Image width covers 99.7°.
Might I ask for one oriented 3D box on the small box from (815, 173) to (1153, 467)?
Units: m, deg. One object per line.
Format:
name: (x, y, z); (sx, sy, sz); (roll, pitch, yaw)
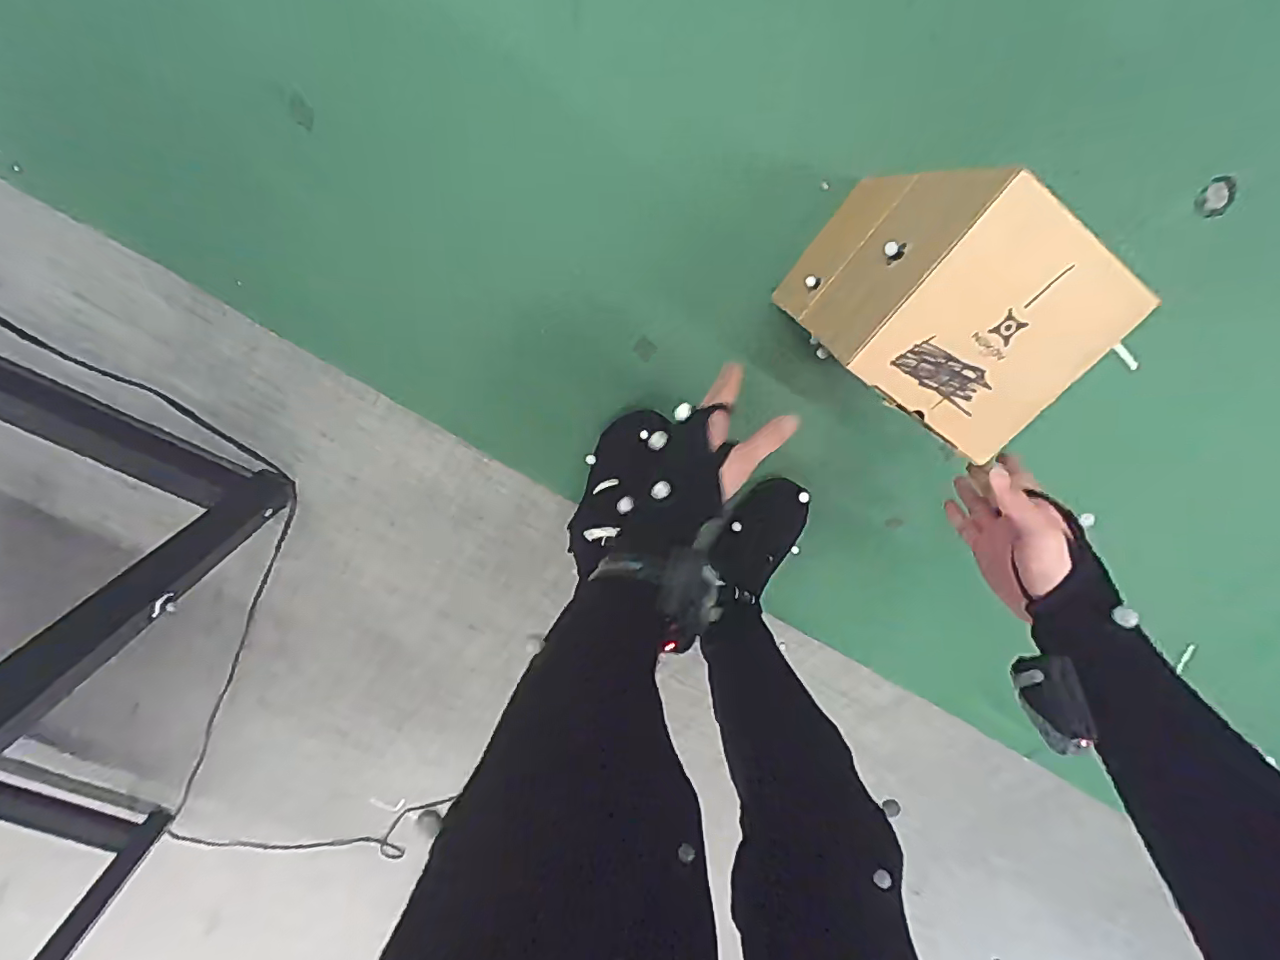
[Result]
small box: (0.287, -0.150, 0.504); (0.168, 0.176, 0.179); (32, 113, -15)

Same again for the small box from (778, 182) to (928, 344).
small box: (0.291, -0.226, 0.649); (0.168, 0.176, 0.179); (32, 114, -14)
